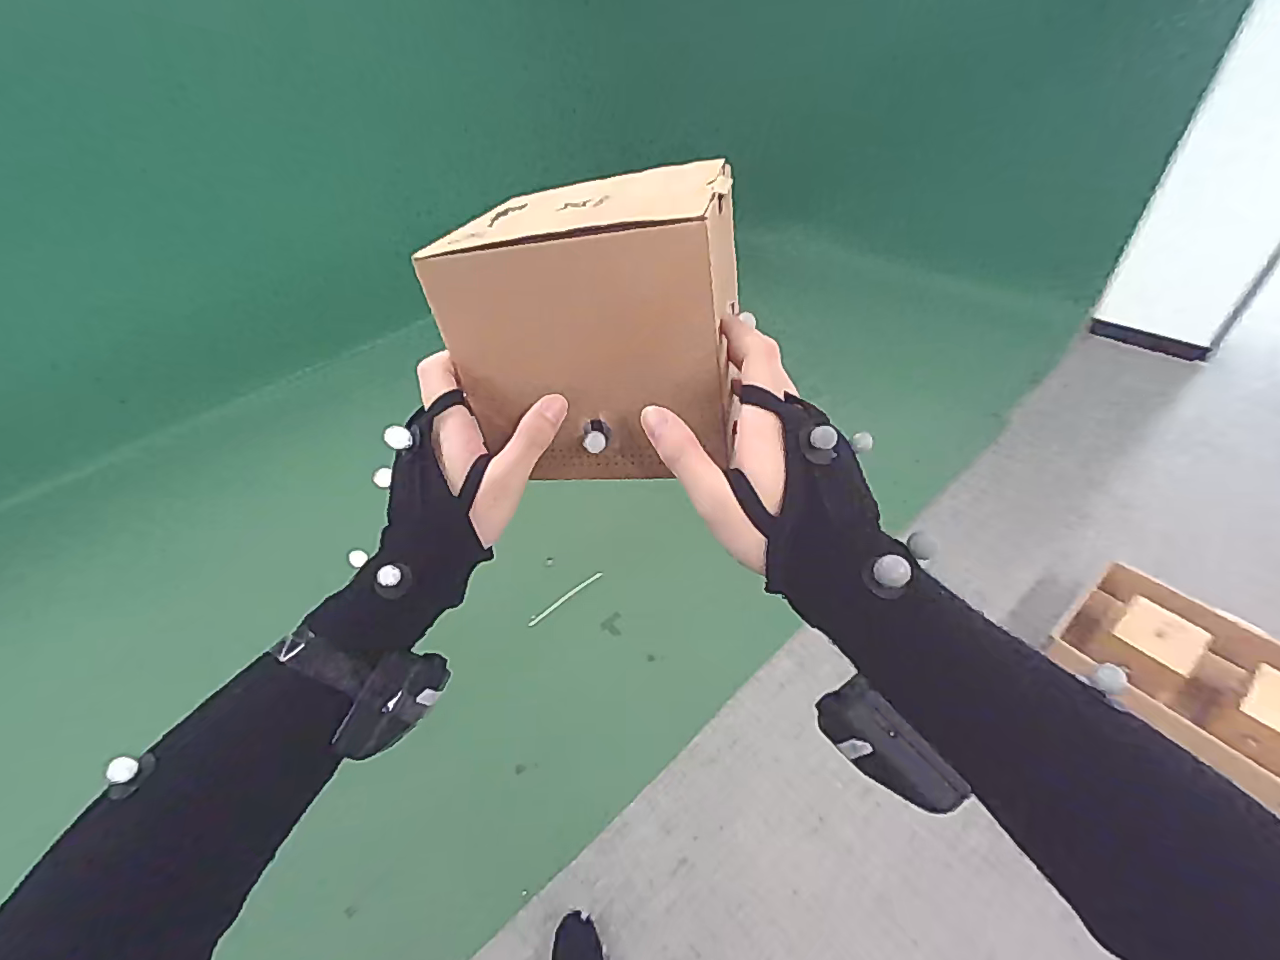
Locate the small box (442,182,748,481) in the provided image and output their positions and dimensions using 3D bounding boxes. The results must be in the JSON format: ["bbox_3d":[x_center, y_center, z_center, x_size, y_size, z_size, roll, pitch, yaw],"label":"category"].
[{"bbox_3d":[-0.010,-0.112,0.415,0.179,0.176,0.168,1,37,15],"label":"small box"}]

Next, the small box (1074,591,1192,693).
[{"bbox_3d":[1.356,0.453,1.501,0.179,0.176,0.168,-33,51,-23],"label":"small box"}]

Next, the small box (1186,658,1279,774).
[{"bbox_3d":[1.527,0.590,1.346,0.179,0.176,0.168,-34,50,-24],"label":"small box"}]
